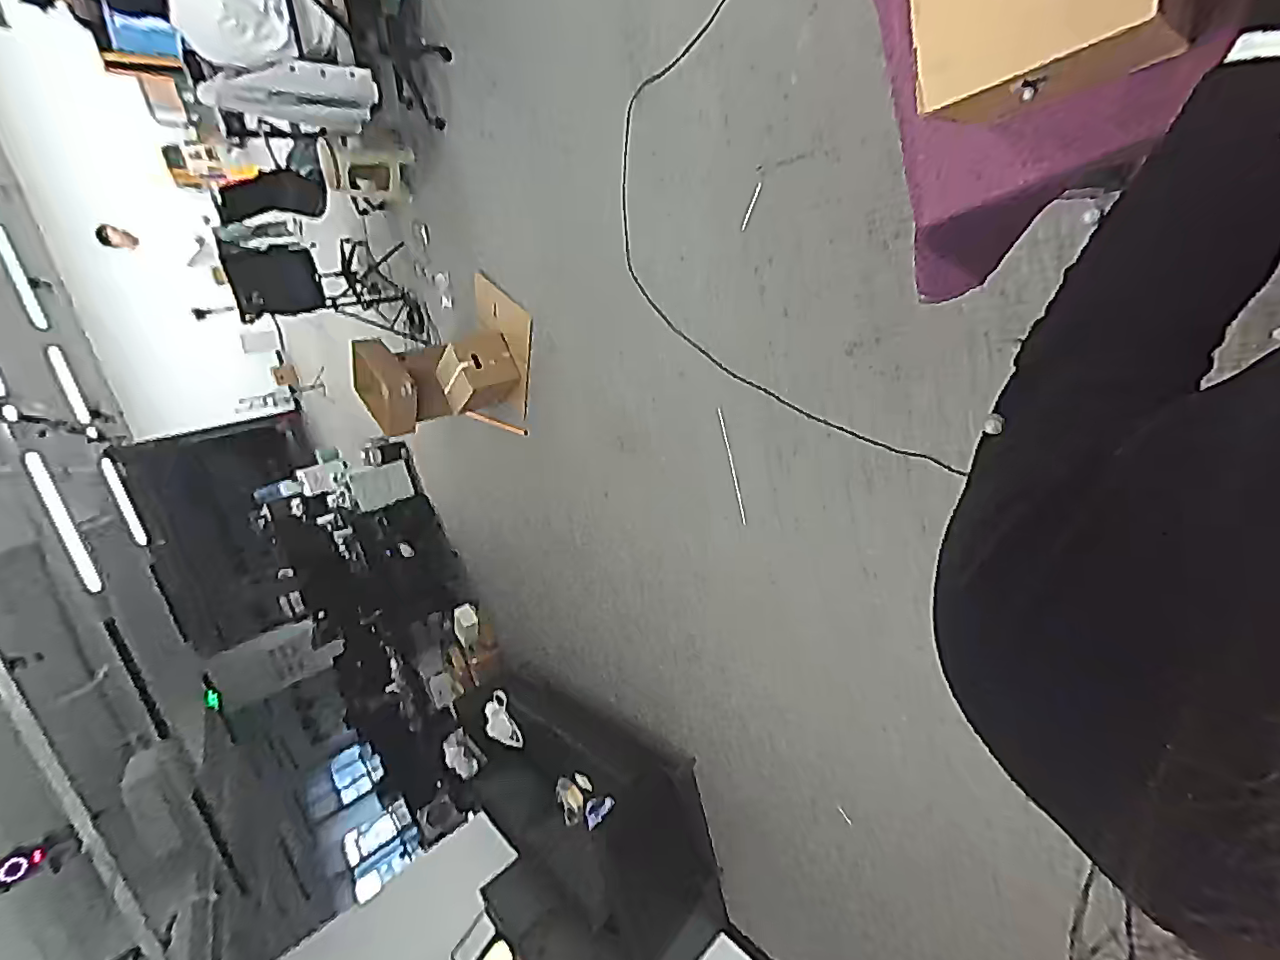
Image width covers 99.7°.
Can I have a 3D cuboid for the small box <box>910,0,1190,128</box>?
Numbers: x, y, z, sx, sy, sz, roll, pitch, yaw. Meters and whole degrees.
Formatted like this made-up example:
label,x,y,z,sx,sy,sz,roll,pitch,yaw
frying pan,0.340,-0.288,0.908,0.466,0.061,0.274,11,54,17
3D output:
label,x,y,z,sx,sy,sz,roll,pitch,yaw
small box,0.375,-0.450,0.499,0.179,0.176,0.168,8,115,50
